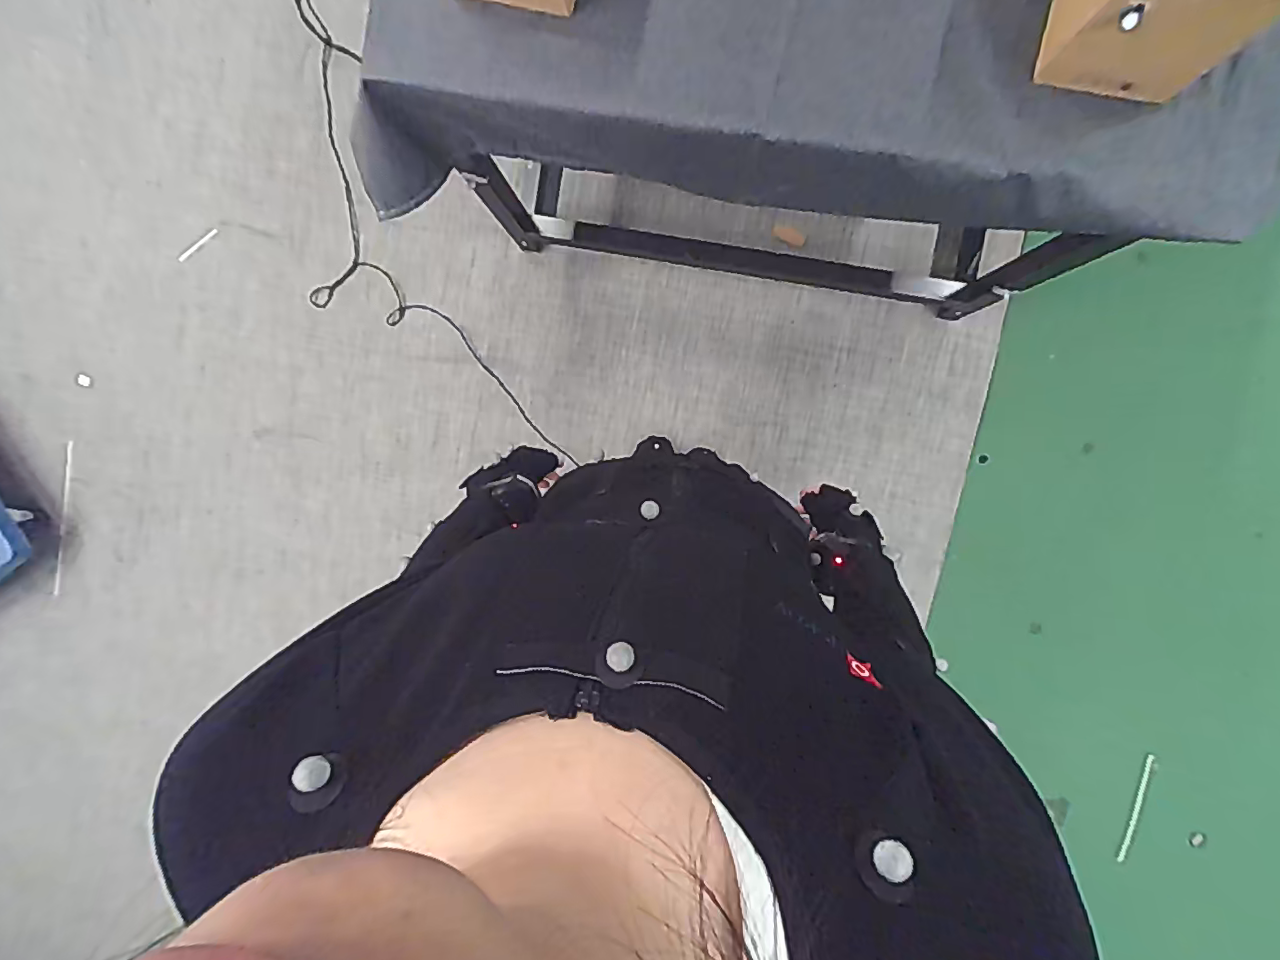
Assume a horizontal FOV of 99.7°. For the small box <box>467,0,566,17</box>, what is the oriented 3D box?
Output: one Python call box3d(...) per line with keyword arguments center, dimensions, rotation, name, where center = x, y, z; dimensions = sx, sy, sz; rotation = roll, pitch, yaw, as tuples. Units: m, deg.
box3d(center=(-0.166, -0.710, 0.647), dimensions=(0.179, 0.176, 0.168), rotation=(13, 94, 3), name="small box")
